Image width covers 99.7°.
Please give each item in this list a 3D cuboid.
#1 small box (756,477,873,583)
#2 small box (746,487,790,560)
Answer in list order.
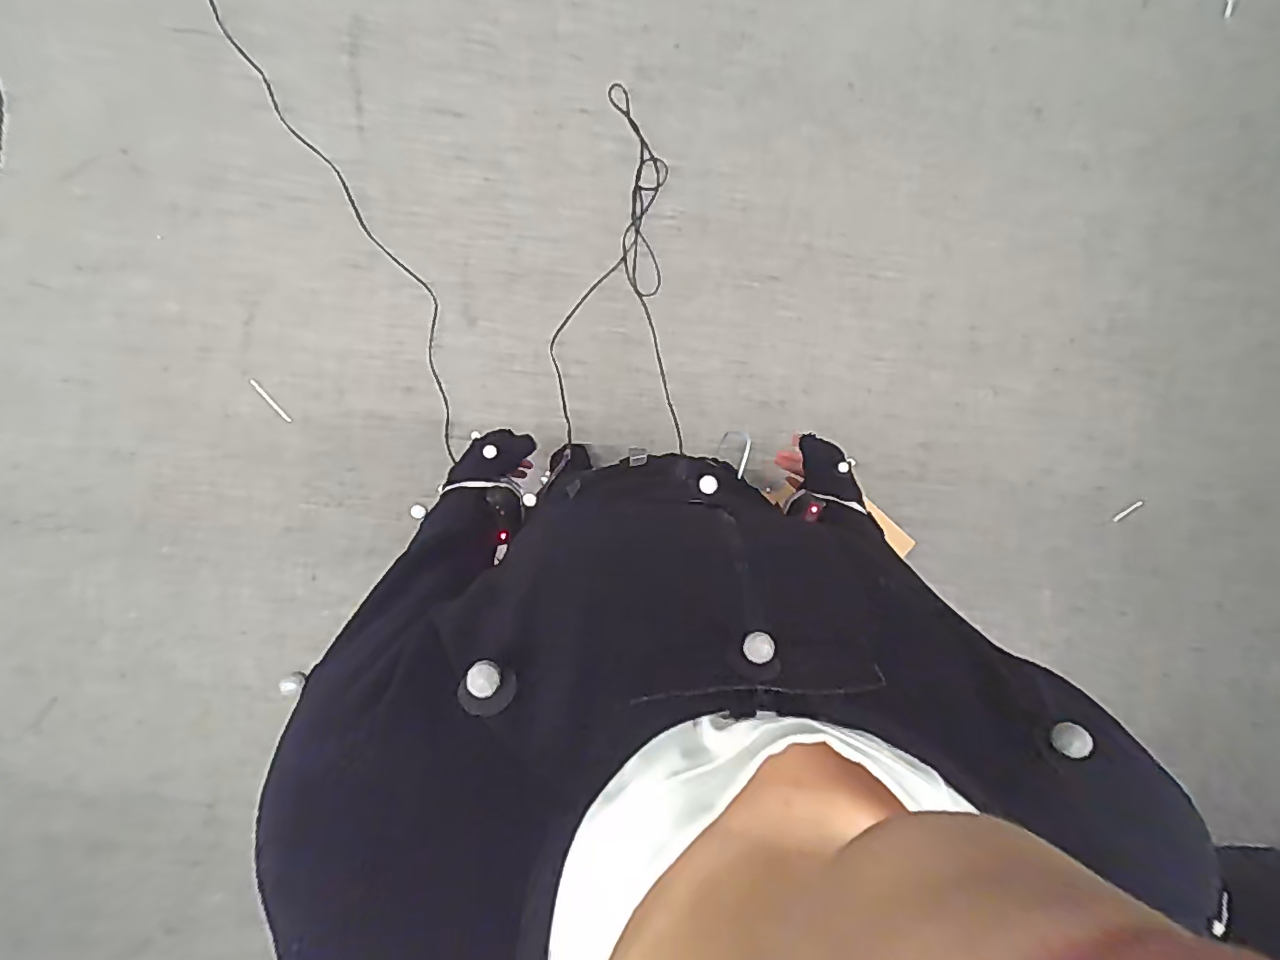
[{"bbox_3d":[0.397,0.108,1.268,0.168,0.176,0.179,34,93,-6],"label":"small box"},{"bbox_3d":[0.380,0.110,1.416,0.179,0.176,0.168,0,95,-4],"label":"small box"}]
